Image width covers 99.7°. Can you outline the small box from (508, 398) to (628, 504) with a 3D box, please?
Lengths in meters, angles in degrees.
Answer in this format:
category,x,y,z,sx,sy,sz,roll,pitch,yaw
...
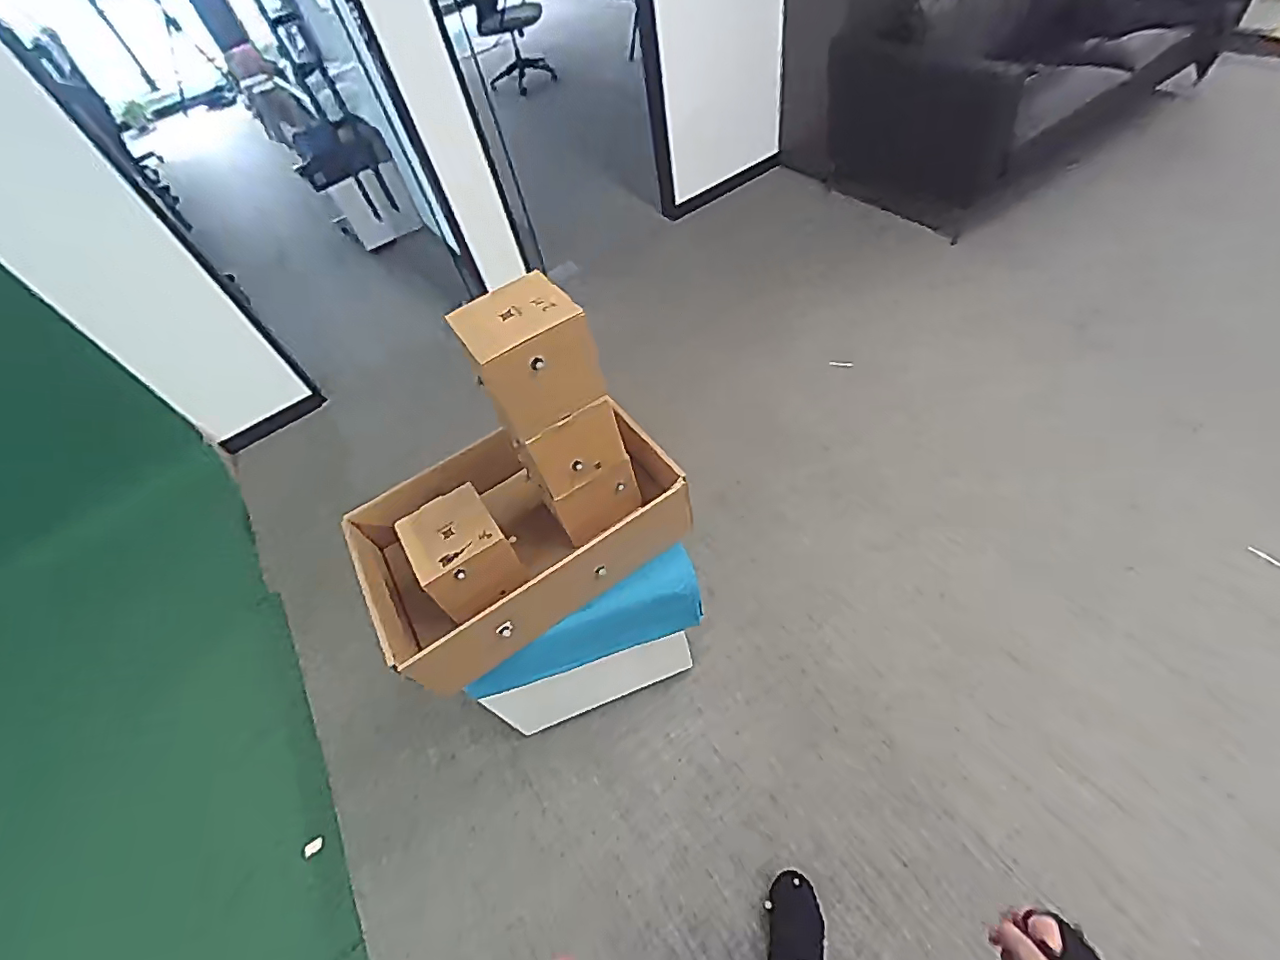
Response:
category,x,y,z,sx,sy,sz,roll,pitch,yaw
small box,-0.144,-0.088,1.023,0.168,0.176,0.179,-31,51,-13

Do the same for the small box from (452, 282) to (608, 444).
category,x,y,z,sx,sy,sz,roll,pitch,yaw
small box,-0.175,-0.190,0.897,0.179,0.176,0.168,-31,52,-13
